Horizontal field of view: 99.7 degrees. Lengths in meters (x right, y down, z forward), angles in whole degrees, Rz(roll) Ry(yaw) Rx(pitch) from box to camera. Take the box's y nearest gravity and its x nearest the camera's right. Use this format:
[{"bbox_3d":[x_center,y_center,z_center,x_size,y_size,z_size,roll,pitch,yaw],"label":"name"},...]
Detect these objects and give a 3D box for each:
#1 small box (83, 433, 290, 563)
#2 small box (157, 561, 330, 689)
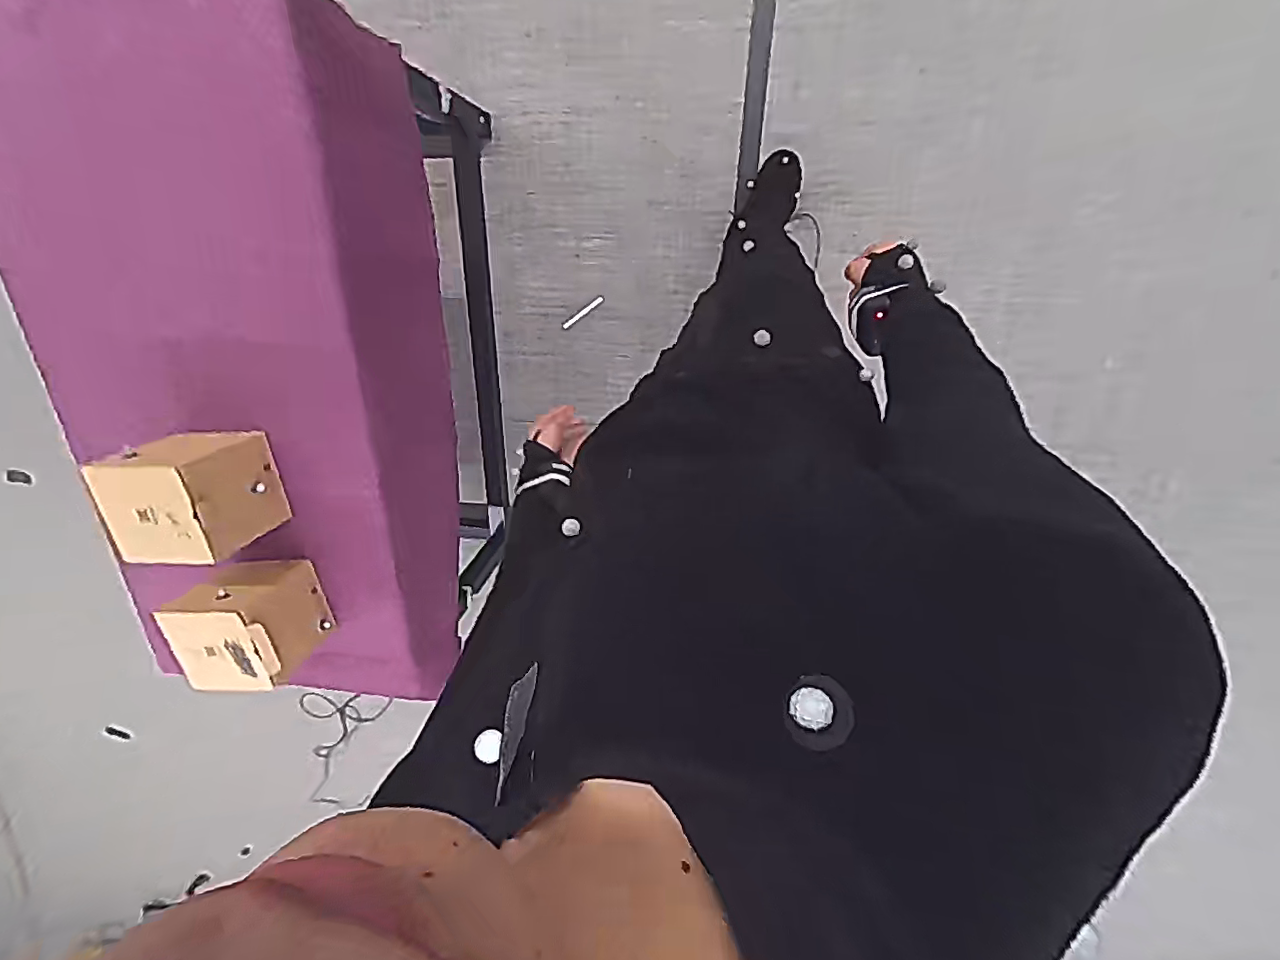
[{"bbox_3d":[-0.740,0.024,0.904,0.179,0.176,0.168,-1,113,8],"label":"small box"},{"bbox_3d":[-0.710,0.262,0.998,0.179,0.176,0.168,-4,111,11],"label":"small box"}]
